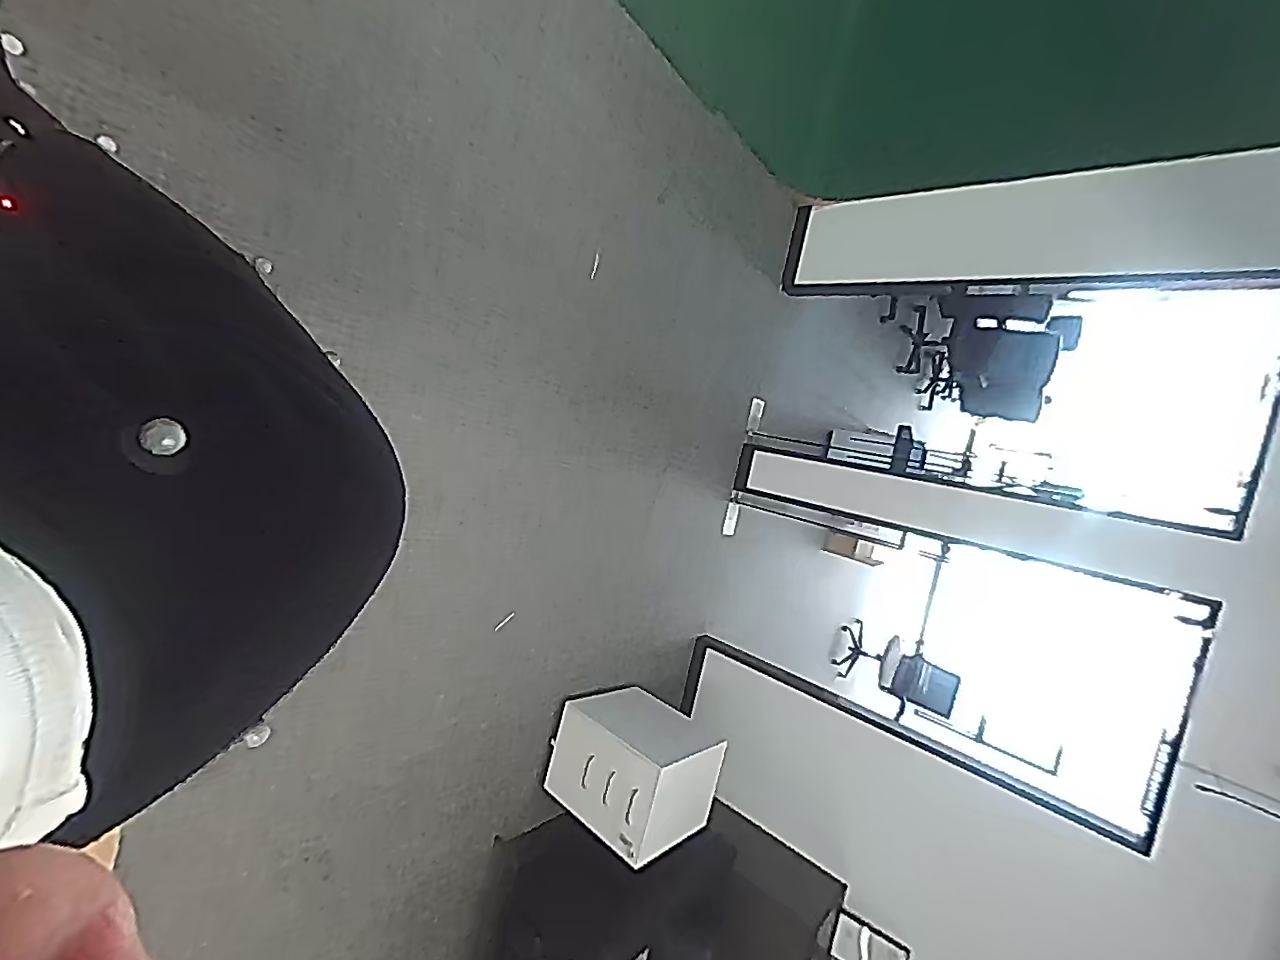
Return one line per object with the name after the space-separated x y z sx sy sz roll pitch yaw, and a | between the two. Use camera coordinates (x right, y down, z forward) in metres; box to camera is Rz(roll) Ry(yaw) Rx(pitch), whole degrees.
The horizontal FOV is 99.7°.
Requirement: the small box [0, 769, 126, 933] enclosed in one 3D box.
-1.122 0.697 1.033 0.168 0.176 0.179 10 94 -52 | small box

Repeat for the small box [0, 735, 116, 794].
-1.248 0.670 1.136 0.179 0.176 0.168 12 93 -51 | small box
